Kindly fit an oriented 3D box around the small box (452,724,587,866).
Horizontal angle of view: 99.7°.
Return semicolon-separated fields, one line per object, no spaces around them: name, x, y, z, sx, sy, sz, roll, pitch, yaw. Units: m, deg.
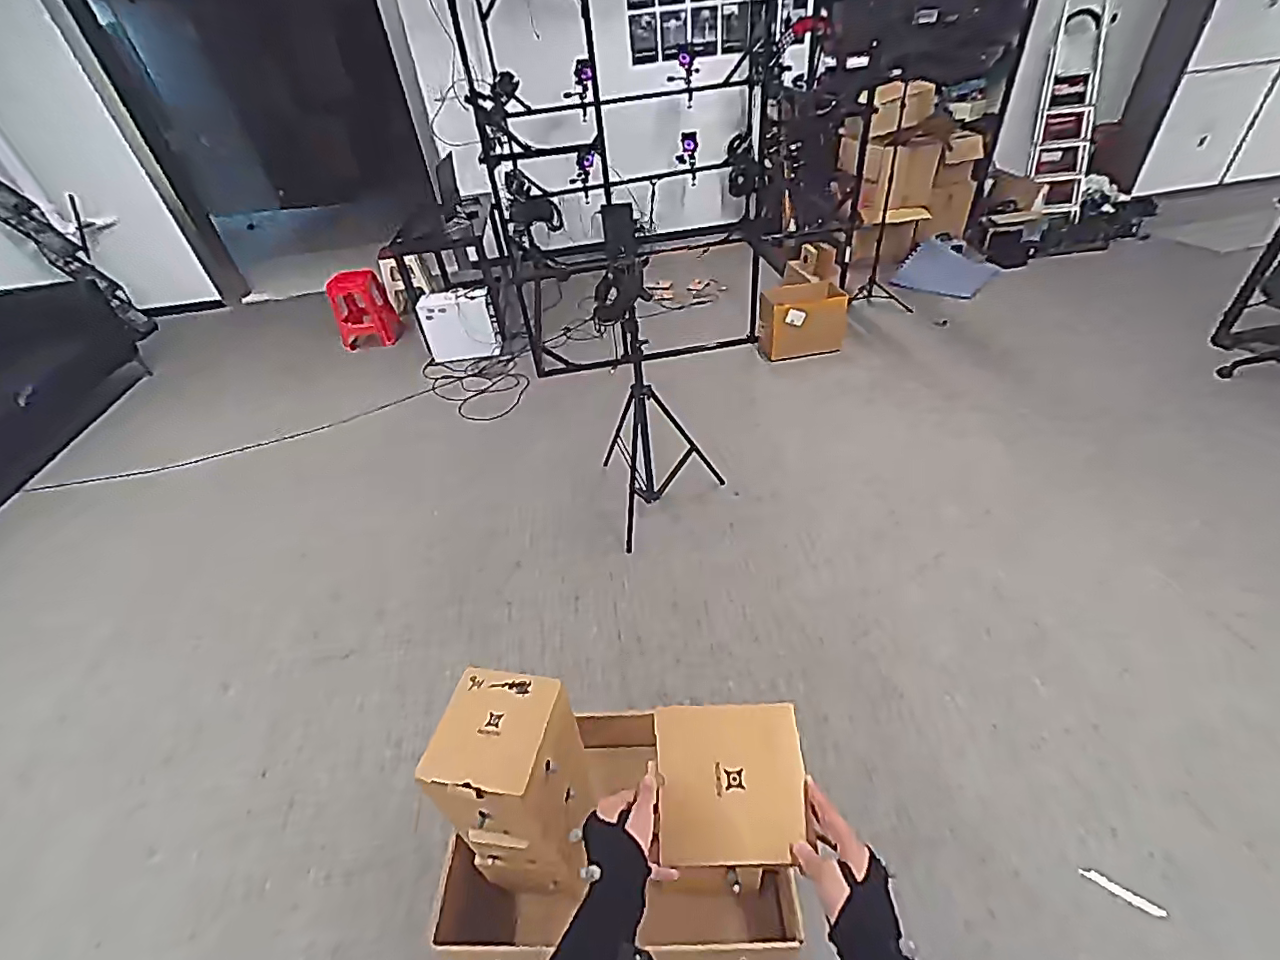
small box;-0.196;0.546;0.948;0.168;0.176;0.179;1;39;9

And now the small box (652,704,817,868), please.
small box;0.109;0.394;0.693;0.179;0.176;0.168;-4;54;4

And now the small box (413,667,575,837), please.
small box;-0.210;0.423;0.841;0.168;0.176;0.179;3;41;12
